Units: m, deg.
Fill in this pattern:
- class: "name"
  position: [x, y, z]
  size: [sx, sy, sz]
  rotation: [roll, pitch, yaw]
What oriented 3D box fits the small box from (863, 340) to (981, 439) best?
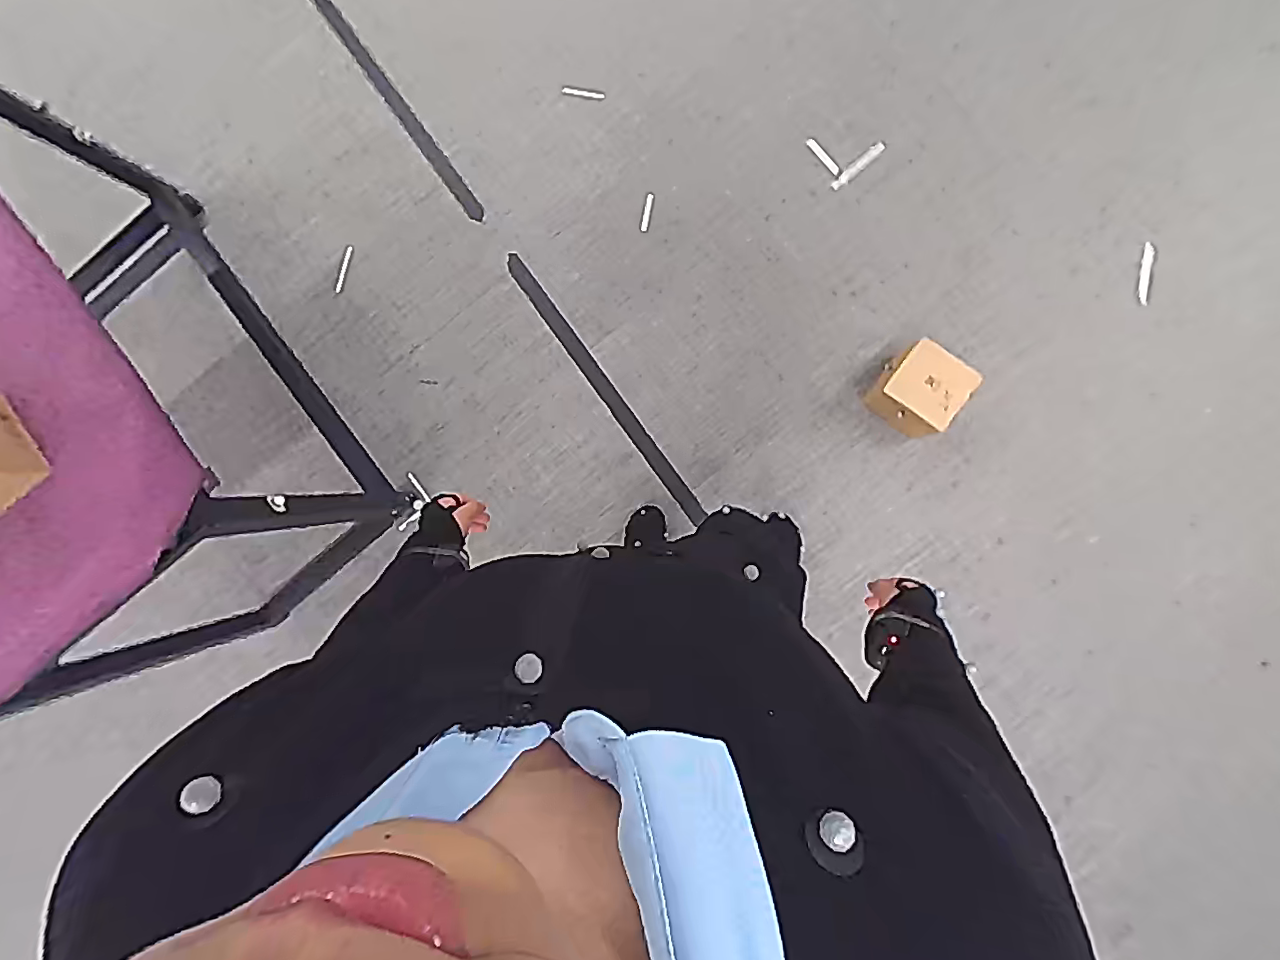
- class: "small box"
  position: [0.701, -0.219, 1.370]
  size: [0.179, 0.176, 0.168]
  rotation: [37, 92, 4]
